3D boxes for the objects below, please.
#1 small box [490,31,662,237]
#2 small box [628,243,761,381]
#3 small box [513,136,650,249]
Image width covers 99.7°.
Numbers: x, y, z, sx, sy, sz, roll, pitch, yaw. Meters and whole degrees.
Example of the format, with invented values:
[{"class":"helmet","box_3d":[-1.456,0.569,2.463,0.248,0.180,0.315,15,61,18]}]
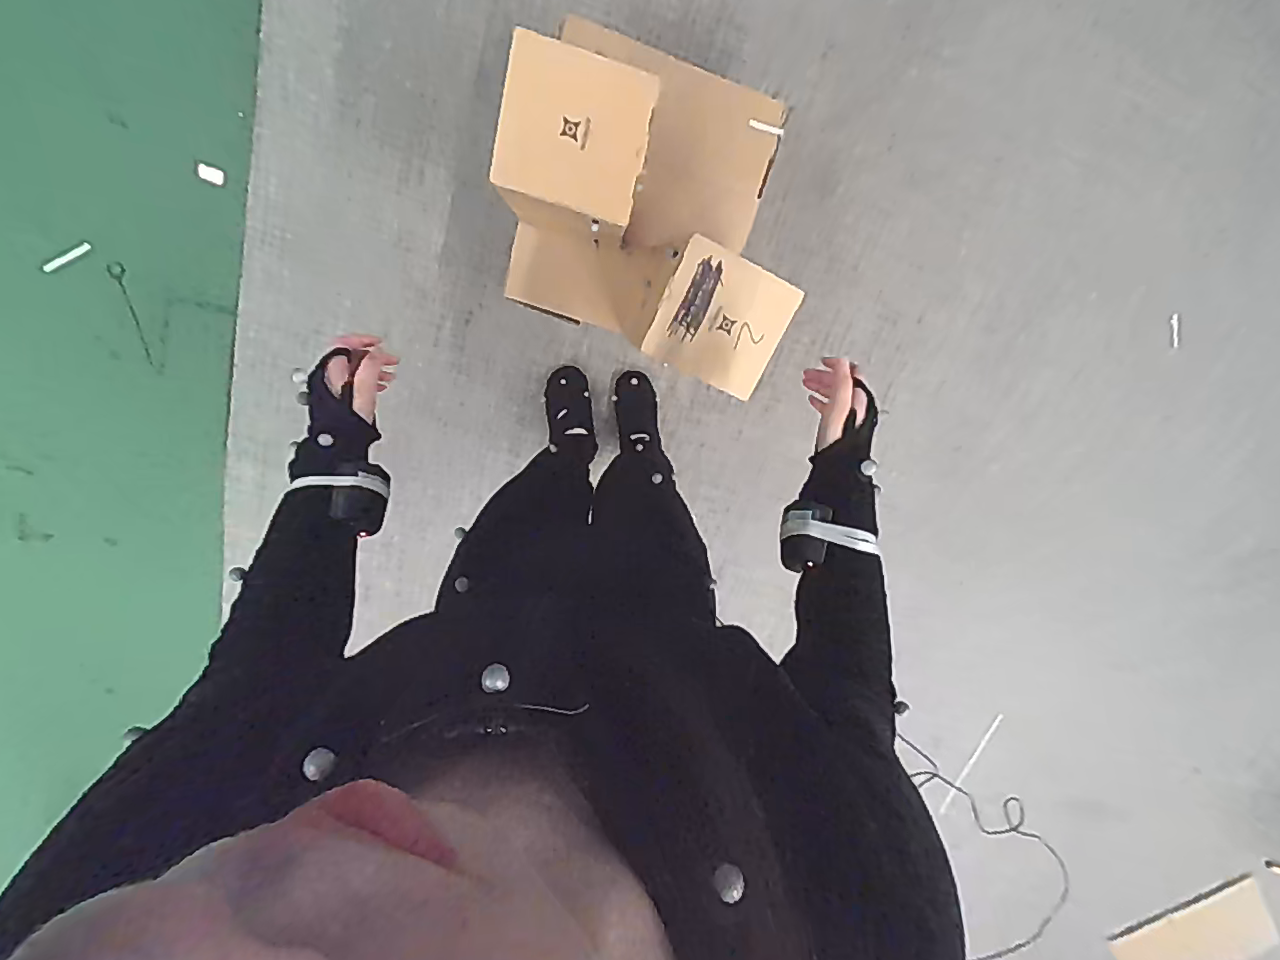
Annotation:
[{"class":"small box","box_3d":[-0.085,-0.438,0.722,0.179,0.176,0.168,13,106,-10]},{"class":"small box","box_3d":[0.085,-0.295,0.959,0.168,0.176,0.179,18,106,-12]},{"class":"small box","box_3d":[-0.095,-0.485,0.879,0.179,0.176,0.168,13,106,-9]}]
